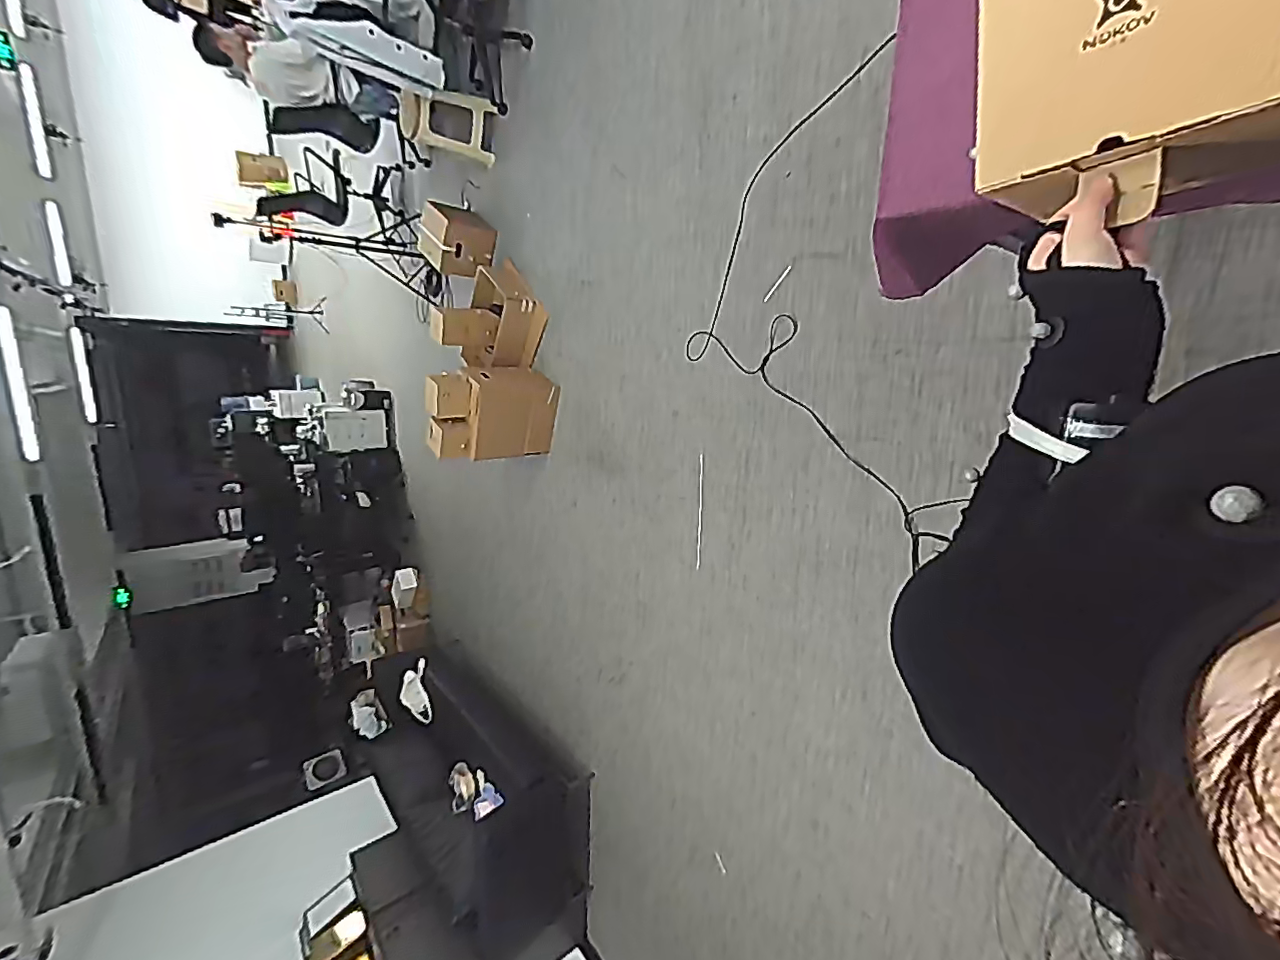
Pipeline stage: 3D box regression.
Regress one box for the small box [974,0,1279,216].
[{"bbox_3d":[0.382,-0.327,0.418,0.168,0.176,0.179,7,105,51],"label":"small box"}]
